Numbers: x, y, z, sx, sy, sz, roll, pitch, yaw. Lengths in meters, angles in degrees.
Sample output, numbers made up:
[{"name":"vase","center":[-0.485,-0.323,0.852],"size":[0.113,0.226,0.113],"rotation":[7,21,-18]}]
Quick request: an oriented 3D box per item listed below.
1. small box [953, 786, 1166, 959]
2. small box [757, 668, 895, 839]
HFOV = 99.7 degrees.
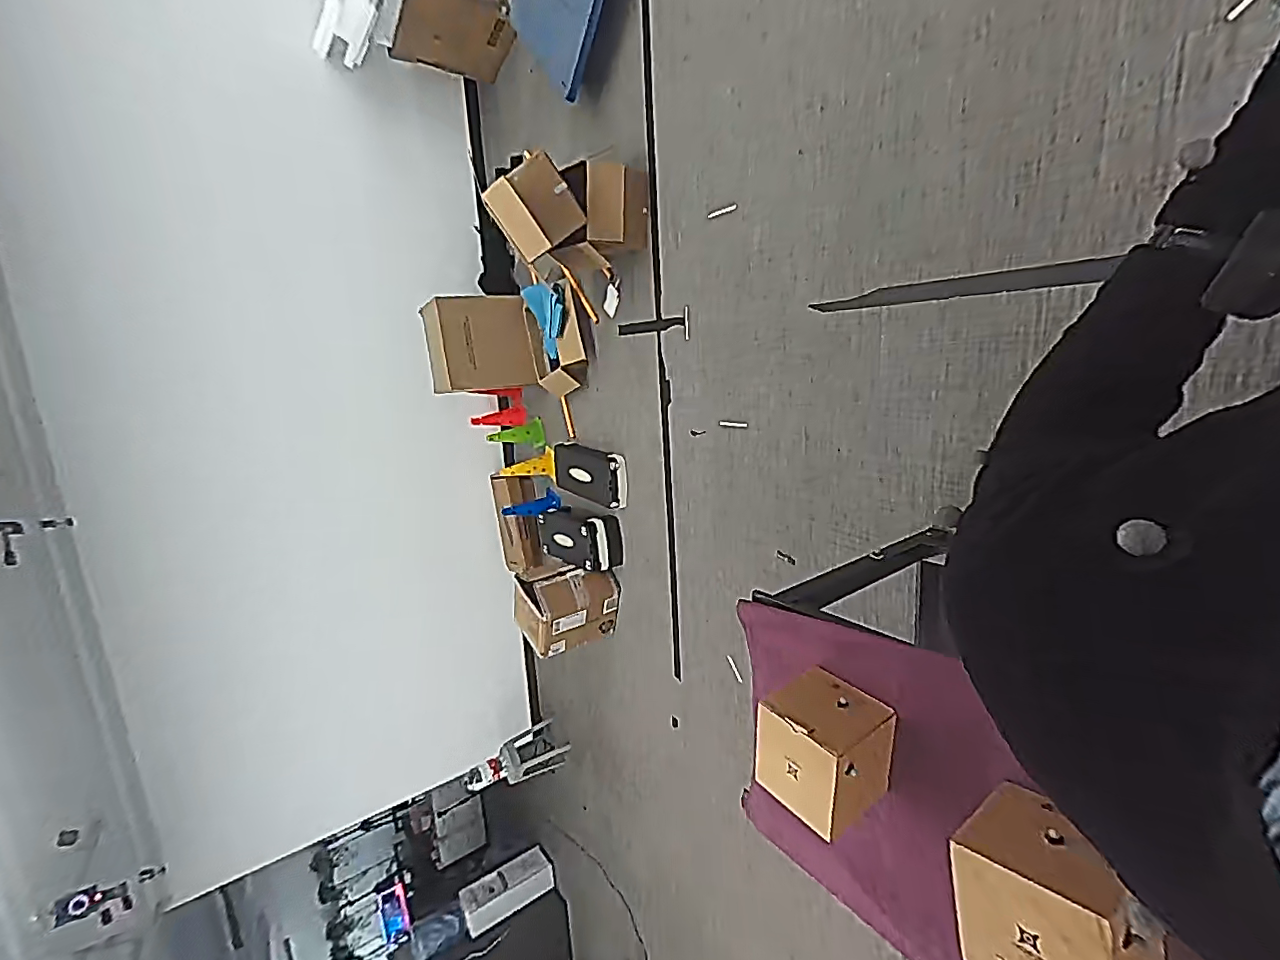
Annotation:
[{"name":"small box","center":[0.526,0.530,0.681],"size":[0.168,0.176,0.179],"rotation":[-2,98,57]},{"name":"small box","center":[0.328,0.471,0.958],"size":[0.168,0.176,0.179],"rotation":[20,116,52]}]
